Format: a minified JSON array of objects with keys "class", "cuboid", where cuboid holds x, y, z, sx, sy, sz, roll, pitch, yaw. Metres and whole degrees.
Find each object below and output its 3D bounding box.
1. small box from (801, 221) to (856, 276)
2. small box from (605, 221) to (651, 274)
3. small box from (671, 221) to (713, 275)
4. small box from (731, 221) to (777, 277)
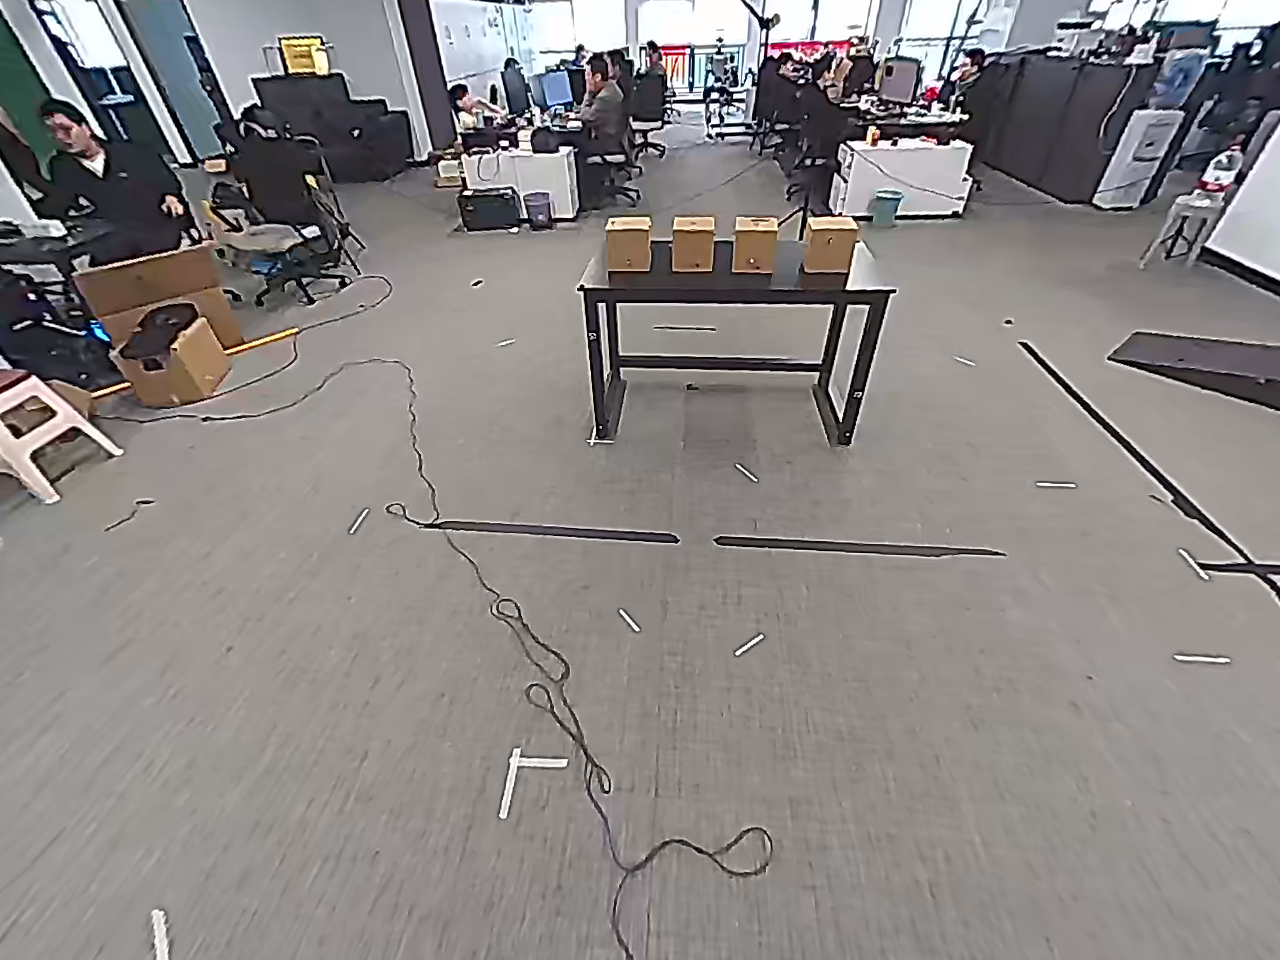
[{"class":"small box","cuboid":[0.752,-0.932,2.179,0.179,0.176,0.168,3,40,7]},{"class":"small box","cuboid":[-0.047,-0.967,2.254,0.179,0.176,0.168,2,40,3]},{"class":"small box","cuboid":[0.215,-0.961,2.240,0.168,0.176,0.179,2,39,4]},{"class":"small box","cuboid":[0.461,-0.945,2.207,0.168,0.176,0.179,5,41,8]}]
